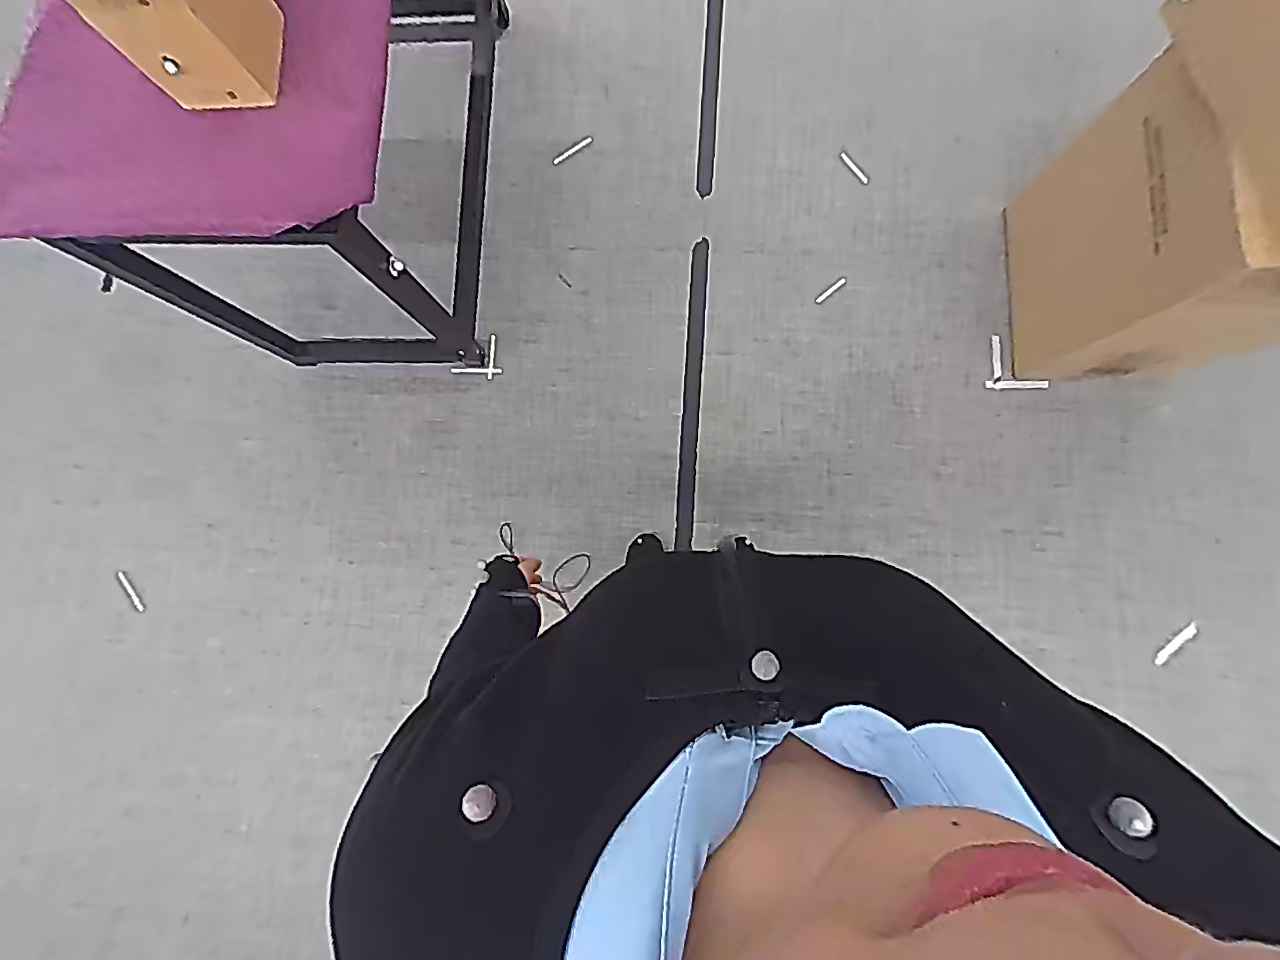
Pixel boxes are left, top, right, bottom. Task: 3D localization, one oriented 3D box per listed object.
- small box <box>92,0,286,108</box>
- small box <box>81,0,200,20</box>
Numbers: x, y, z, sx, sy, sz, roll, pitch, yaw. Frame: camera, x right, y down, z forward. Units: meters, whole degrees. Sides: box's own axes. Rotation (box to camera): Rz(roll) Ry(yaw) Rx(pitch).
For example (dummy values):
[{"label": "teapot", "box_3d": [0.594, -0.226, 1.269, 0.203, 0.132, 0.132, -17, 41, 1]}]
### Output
[{"label": "small box", "box_3d": [-0.698, -0.725, 0.857, 0.168, 0.176, 0.179, -1, 82, 3]}, {"label": "small box", "box_3d": [-0.702, -0.748, 0.694, 0.168, 0.176, 0.179, -1, 83, 3]}]
